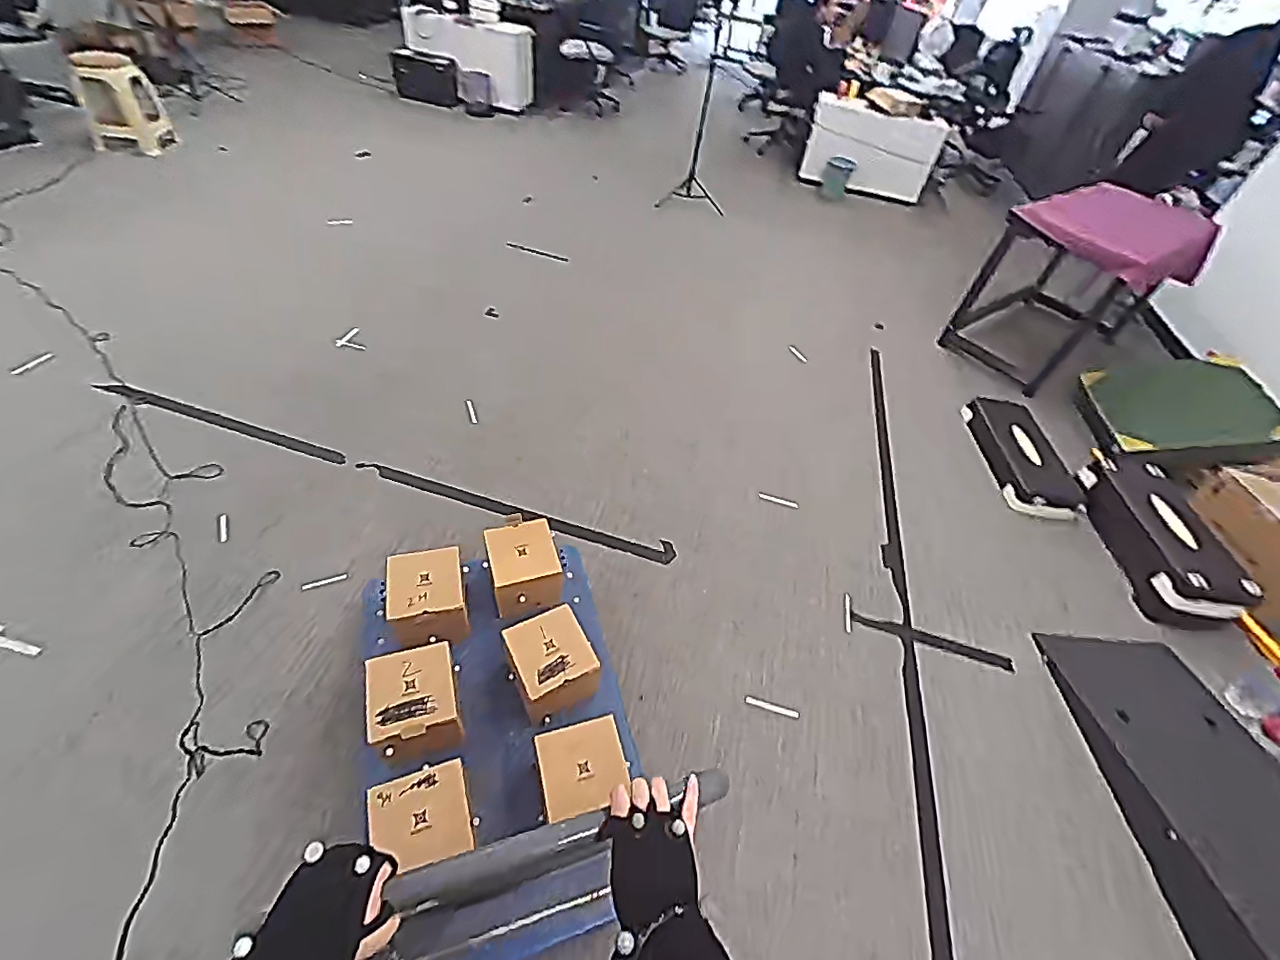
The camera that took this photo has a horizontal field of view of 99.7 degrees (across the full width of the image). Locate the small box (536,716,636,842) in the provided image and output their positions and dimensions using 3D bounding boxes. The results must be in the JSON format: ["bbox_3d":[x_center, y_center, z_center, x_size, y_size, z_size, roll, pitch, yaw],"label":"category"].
[{"bbox_3d":[-0.116,0.617,1.107,0.168,0.176,0.179,-8,49,-18],"label":"small box"}]

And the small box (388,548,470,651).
[{"bbox_3d":[-0.514,0.293,1.329,0.168,0.176,0.179,-7,50,-16],"label":"small box"}]

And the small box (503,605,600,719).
[{"bbox_3d":[-0.207,0.431,1.261,0.168,0.176,0.179,-19,53,-25],"label":"small box"}]

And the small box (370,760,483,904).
[{"bbox_3d":[-0.395,0.662,1.012,0.168,0.176,0.179,-11,51,-21],"label":"small box"}]

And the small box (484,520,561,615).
[{"bbox_3d":[-0.307,0.235,1.423,0.168,0.176,0.179,-11,51,-19],"label":"small box"}]
